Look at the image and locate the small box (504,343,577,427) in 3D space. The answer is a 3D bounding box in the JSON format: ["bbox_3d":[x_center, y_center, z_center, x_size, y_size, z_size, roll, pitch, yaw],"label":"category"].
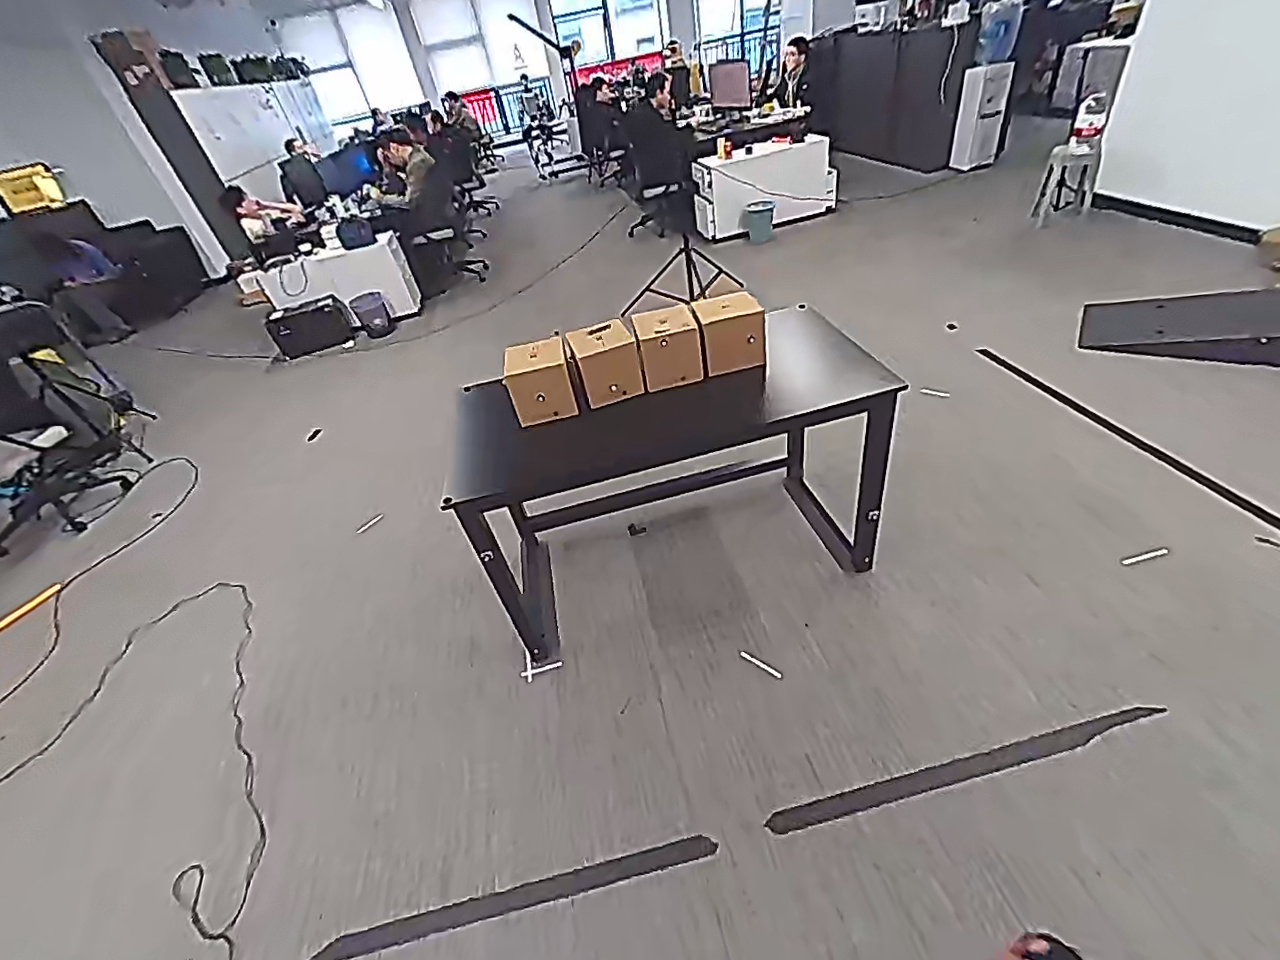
[{"bbox_3d":[-0.282,-0.268,1.553,0.168,0.176,0.179,-13,38,-1],"label":"small box"}]
